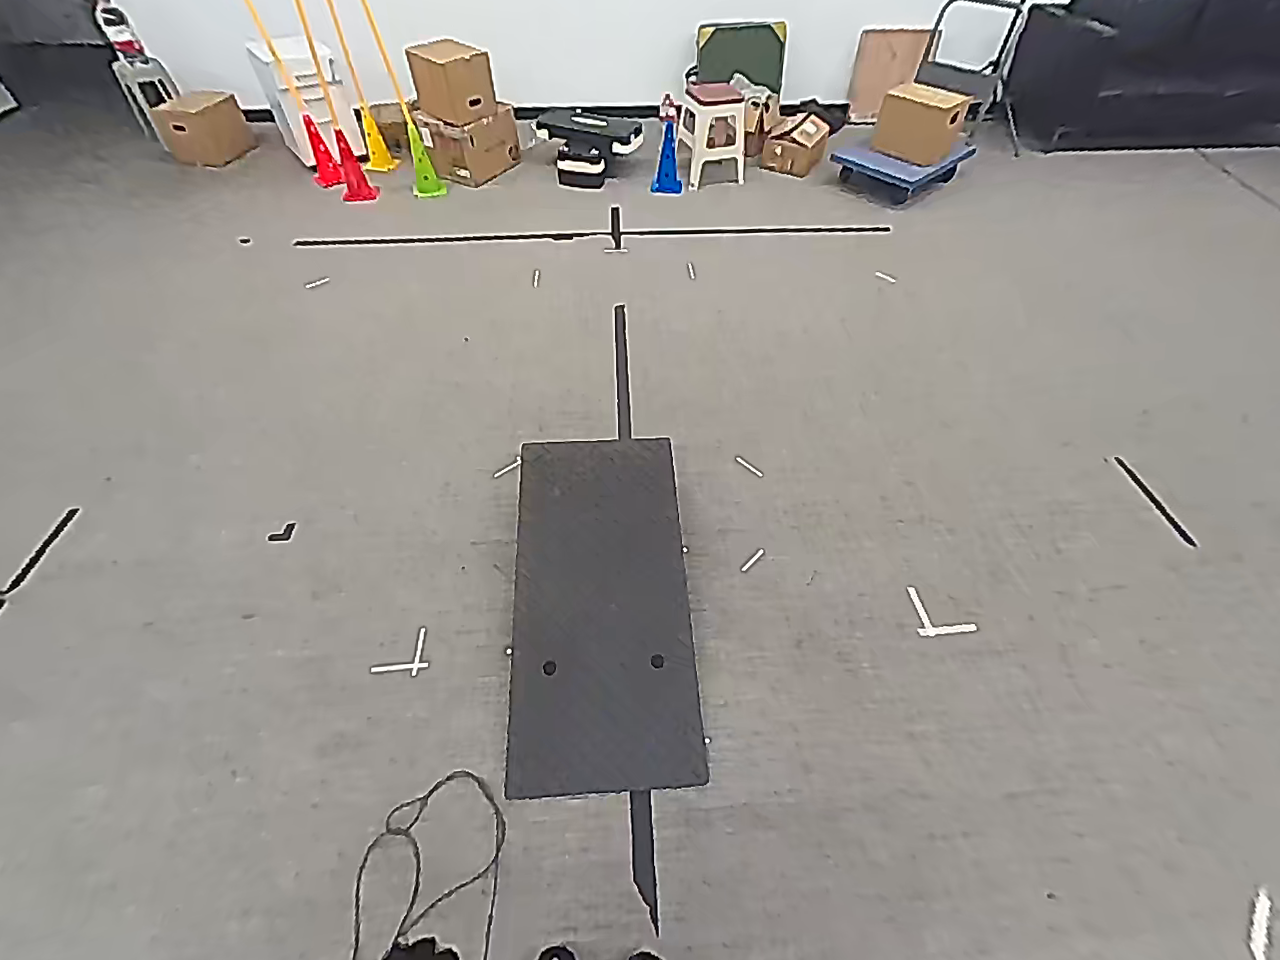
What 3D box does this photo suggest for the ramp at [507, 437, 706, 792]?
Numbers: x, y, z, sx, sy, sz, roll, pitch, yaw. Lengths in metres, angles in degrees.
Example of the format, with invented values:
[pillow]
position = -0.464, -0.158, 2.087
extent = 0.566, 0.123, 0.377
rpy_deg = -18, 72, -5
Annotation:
[ramp]
position = -0.107, 0.303, 1.546
extent = 0.509, 0.206, 0.991
rpy_deg = -3, 51, -5
